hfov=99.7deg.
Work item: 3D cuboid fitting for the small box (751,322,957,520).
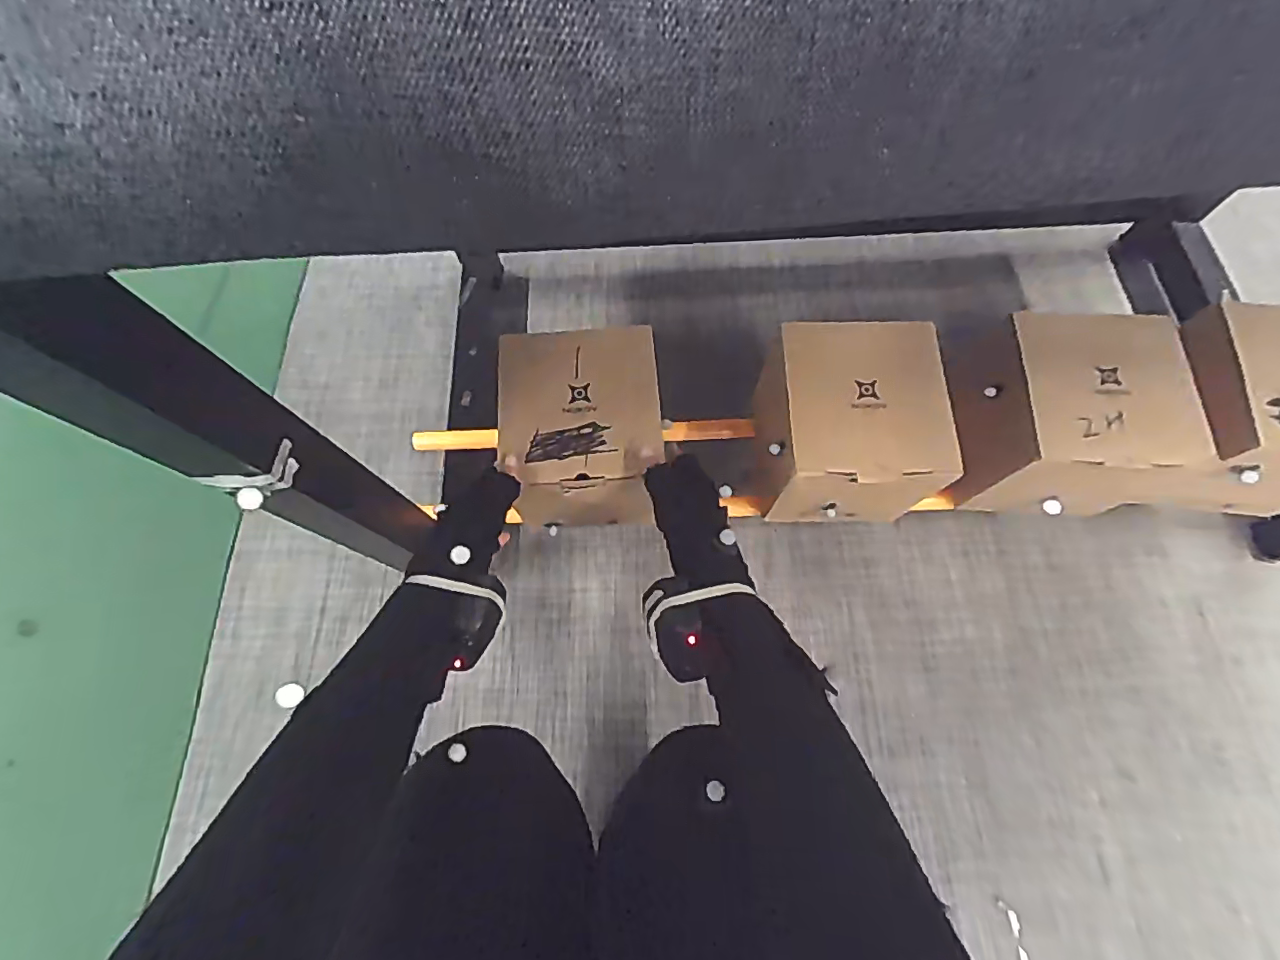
[{"bbox_3d":[0.227,-0.061,0.626,0.168,0.176,0.179,0,71,2],"label":"small box"}]
